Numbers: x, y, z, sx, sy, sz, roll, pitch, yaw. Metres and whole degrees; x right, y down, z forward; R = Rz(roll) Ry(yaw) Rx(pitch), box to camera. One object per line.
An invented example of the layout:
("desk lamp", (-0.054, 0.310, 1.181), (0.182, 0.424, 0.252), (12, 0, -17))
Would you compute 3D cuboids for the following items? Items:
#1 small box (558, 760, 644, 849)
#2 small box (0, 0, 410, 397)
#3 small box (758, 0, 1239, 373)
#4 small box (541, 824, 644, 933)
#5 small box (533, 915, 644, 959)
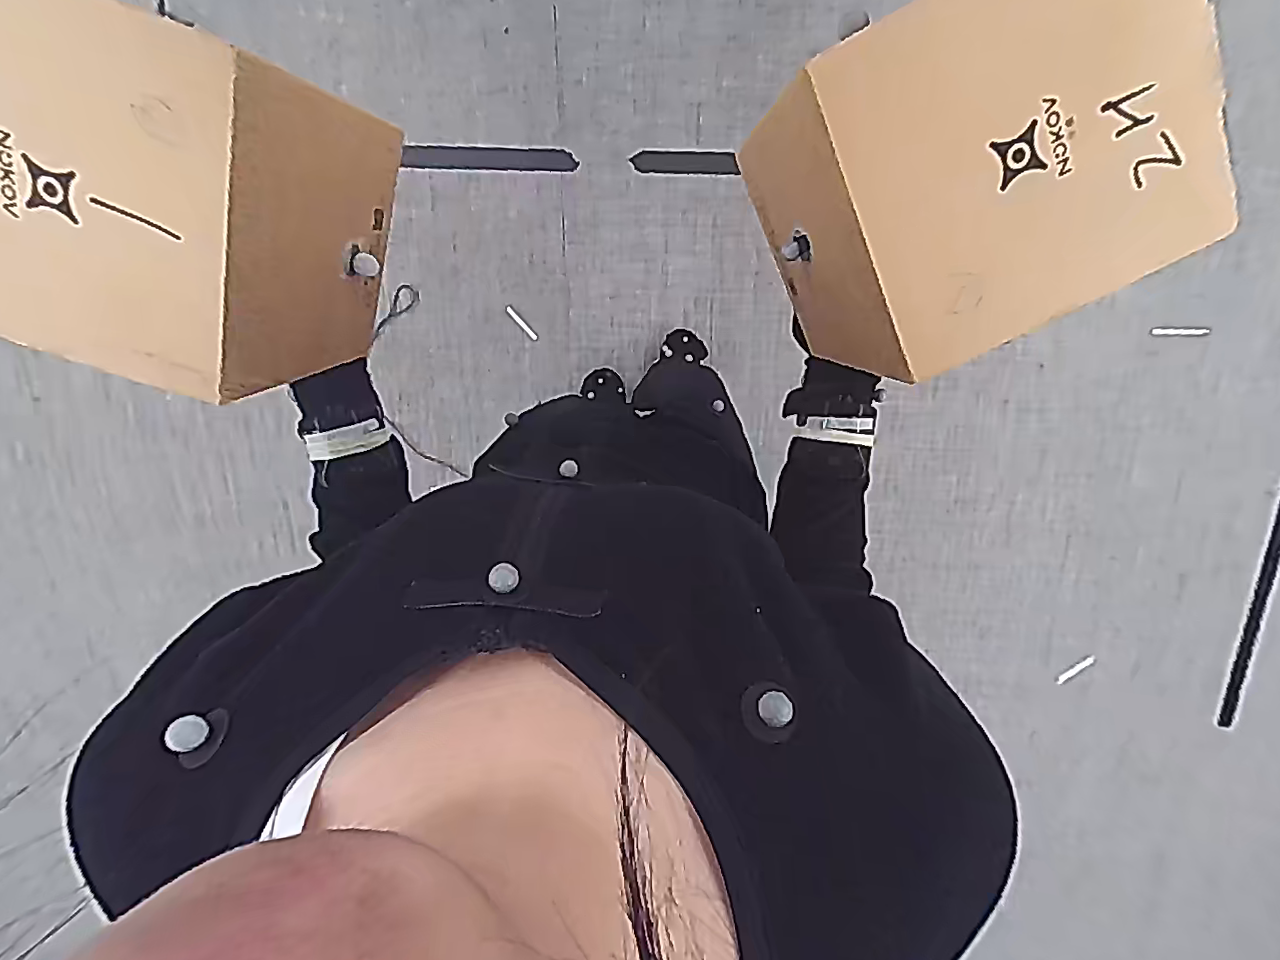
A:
("small box", (-0.083, 0.705, 1.107), (0.168, 0.176, 0.179), (5, 103, -2))
("small box", (-0.267, -0.169, 0.319), (0.179, 0.176, 0.168), (18, 112, -7))
("small box", (0.188, -0.185, 0.336), (0.179, 0.176, 0.168), (-26, 108, 6))
("small box", (-0.082, 0.740, 0.948), (0.168, 0.176, 0.179), (2, 104, -2))
("small box", (-0.079, 0.783, 0.792), (0.168, 0.176, 0.179), (2, 105, -1))
